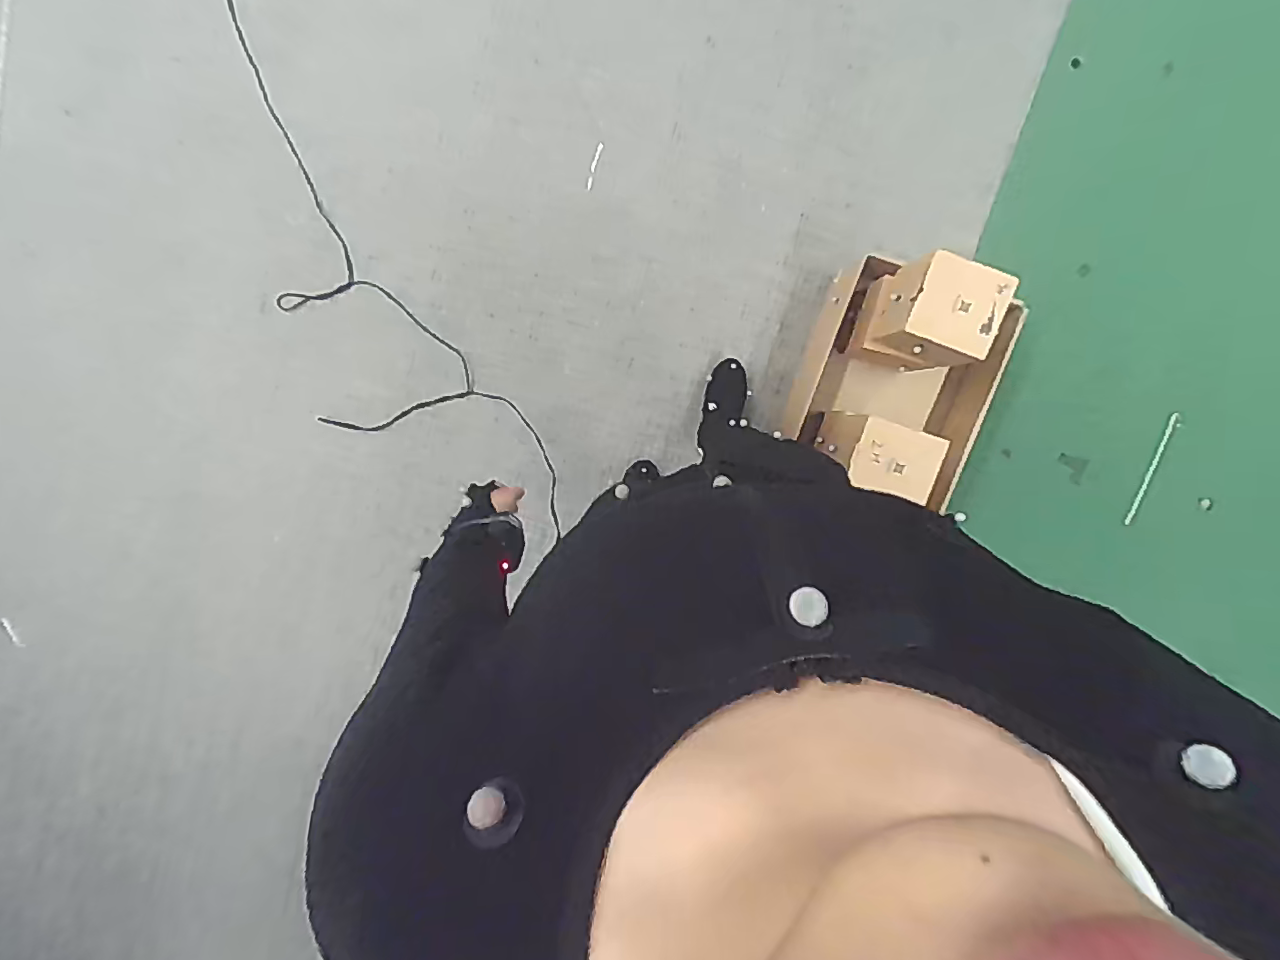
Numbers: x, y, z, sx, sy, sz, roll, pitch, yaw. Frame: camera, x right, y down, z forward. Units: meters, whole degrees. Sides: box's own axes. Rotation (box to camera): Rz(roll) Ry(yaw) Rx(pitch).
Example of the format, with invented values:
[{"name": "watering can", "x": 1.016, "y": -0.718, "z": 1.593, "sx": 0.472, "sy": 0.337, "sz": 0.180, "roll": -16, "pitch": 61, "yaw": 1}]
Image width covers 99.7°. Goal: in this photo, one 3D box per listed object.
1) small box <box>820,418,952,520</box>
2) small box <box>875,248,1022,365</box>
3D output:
[{"name": "small box", "x": 0.514, "y": -0.032, "z": 1.154, "sx": 0.179, "sy": 0.176, "sz": 0.168, "roll": 18, "pitch": 97, "yaw": 0}, {"name": "small box", "x": 0.617, "y": -0.343, "z": 1.109, "sx": 0.179, "sy": 0.176, "sz": 0.168, "roll": 20, "pitch": 98, "yaw": 0}]
